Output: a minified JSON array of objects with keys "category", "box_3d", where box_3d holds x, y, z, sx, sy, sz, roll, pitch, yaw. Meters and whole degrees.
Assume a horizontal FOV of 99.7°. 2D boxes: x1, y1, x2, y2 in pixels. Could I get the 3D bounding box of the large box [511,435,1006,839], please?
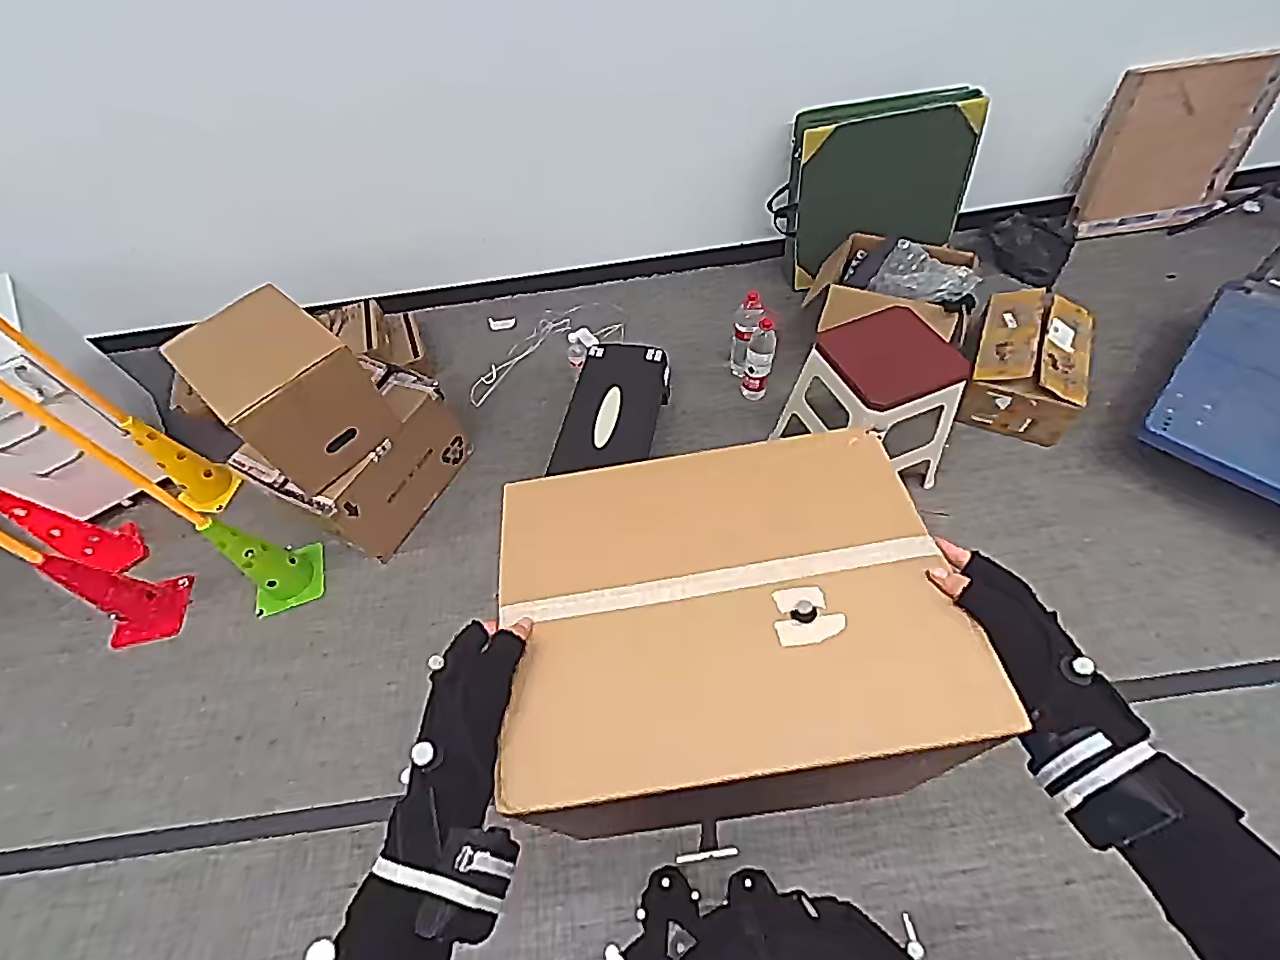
[{"category":"large box","box_3d":[0.088,0.191,0.628,0.408,0.320,0.320,-9,53,0]}]
